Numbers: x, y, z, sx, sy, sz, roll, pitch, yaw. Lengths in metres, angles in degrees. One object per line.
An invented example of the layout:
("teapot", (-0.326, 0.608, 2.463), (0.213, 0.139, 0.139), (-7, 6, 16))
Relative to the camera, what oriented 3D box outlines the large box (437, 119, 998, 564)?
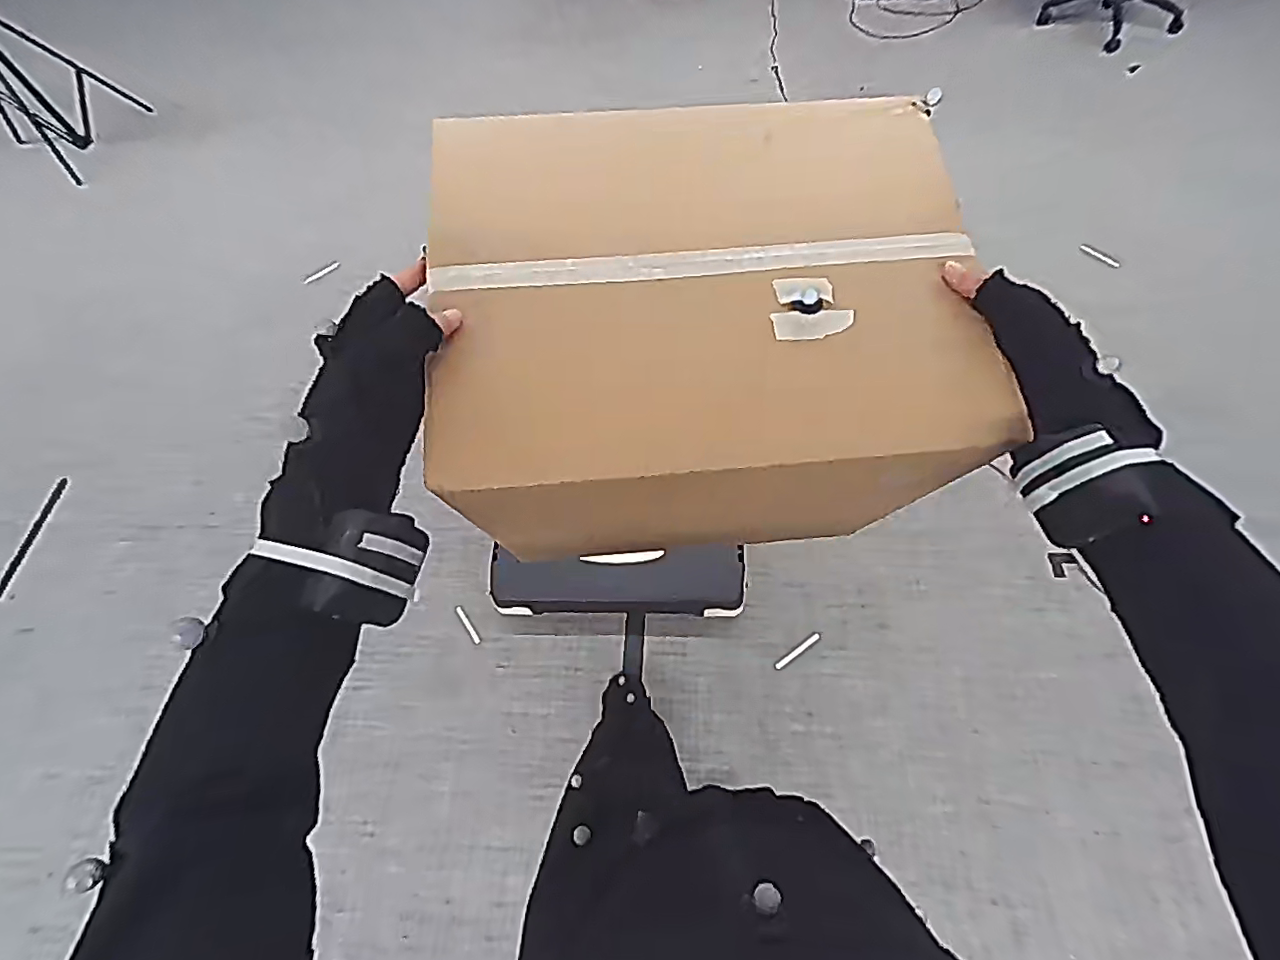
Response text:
("large box", (0.039, -0.108, 0.560), (0.408, 0.320, 0.320), (-5, 73, -3))
